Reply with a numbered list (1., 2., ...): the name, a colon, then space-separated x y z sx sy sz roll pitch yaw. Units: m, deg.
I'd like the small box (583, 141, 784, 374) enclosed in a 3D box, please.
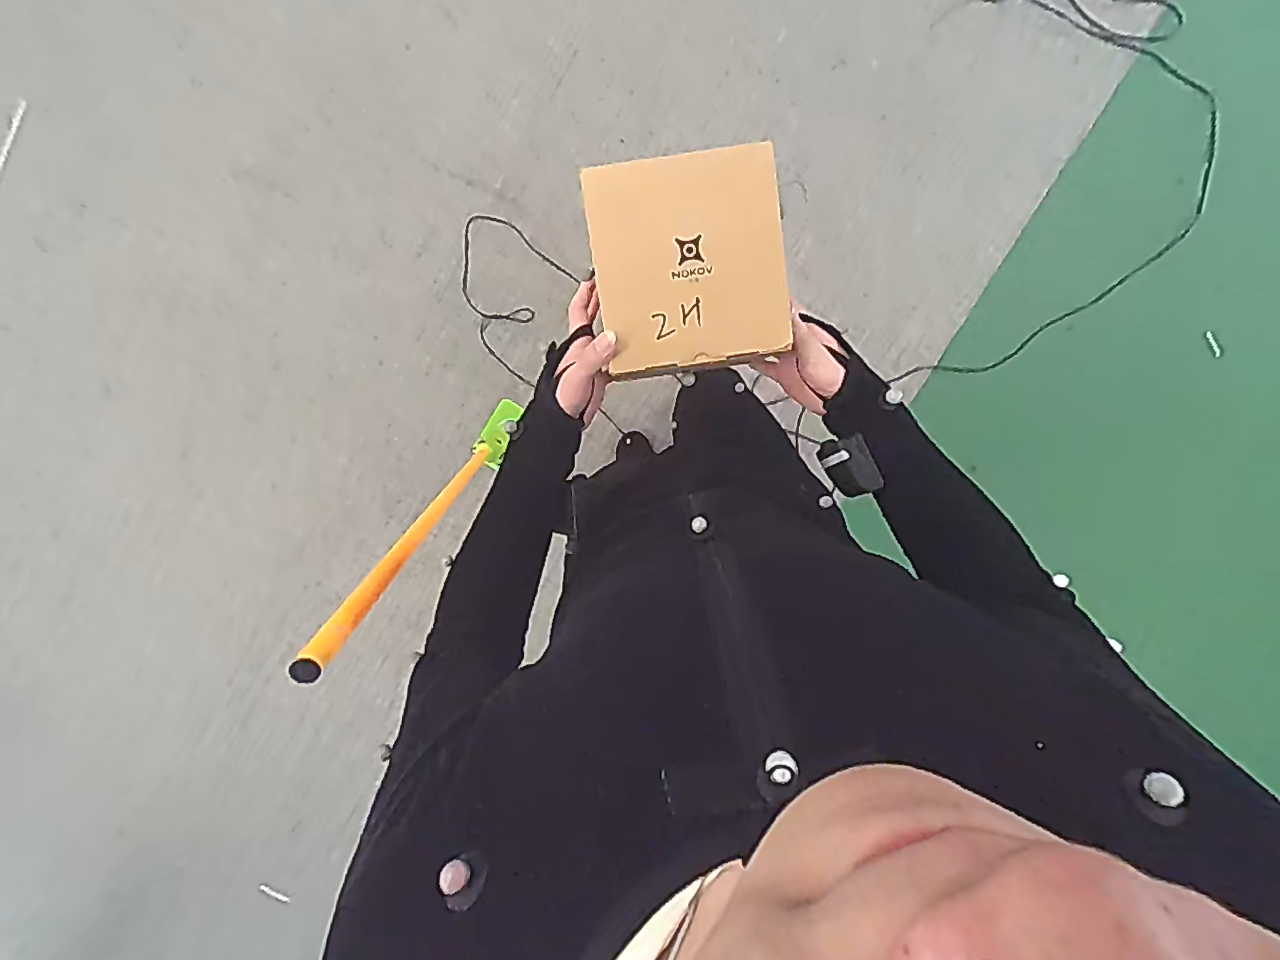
1. small box: 0.037 -0.209 0.554 0.168 0.176 0.179 -8 99 0
